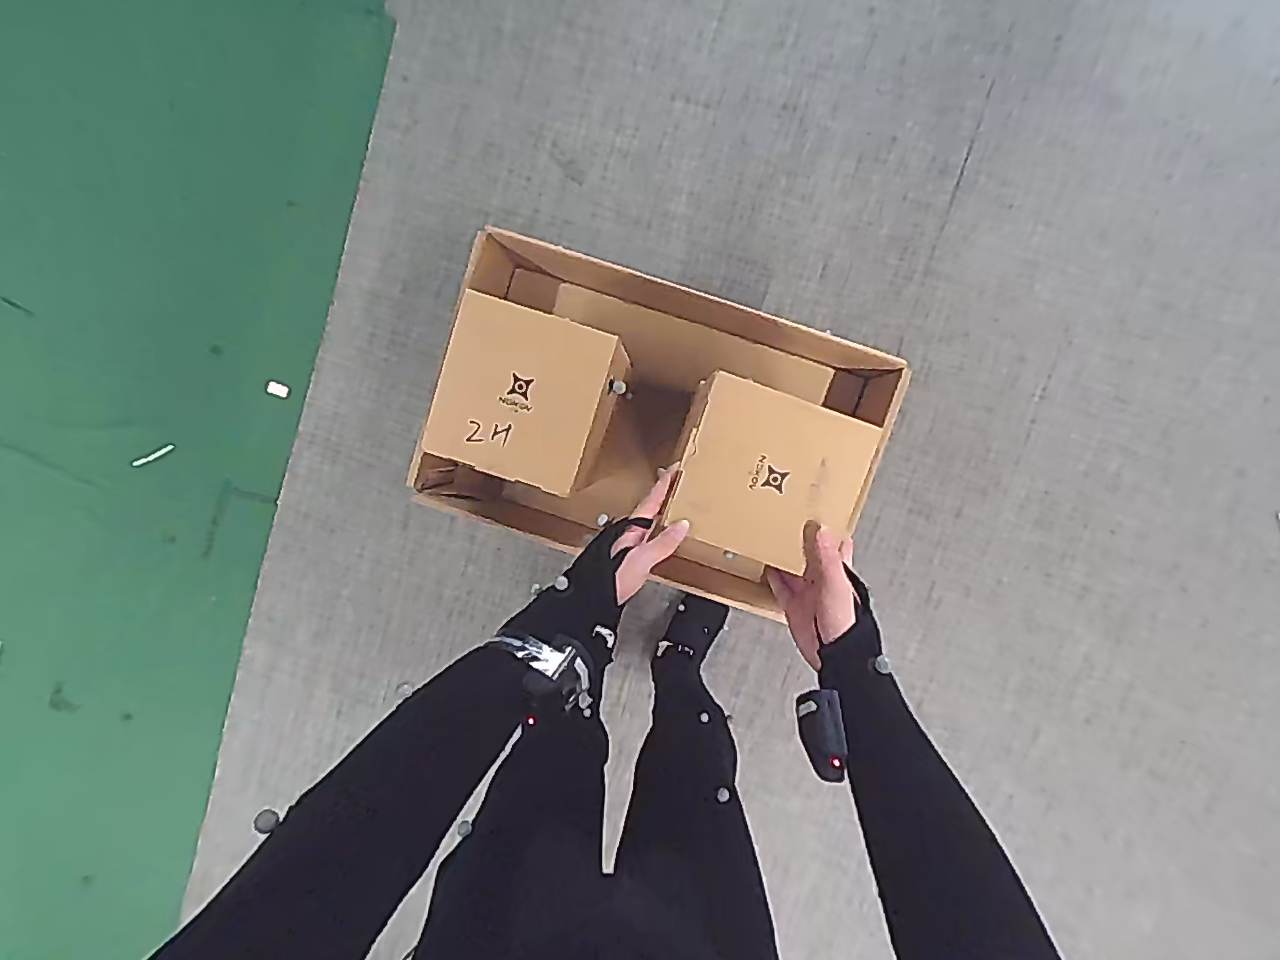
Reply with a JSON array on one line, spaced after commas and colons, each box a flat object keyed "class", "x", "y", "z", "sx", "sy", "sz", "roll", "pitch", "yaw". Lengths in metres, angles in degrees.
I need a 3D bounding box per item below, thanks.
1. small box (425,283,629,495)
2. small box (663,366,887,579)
[{"class": "small box", "x": -0.115, "y": -0.097, "z": 0.627, "sx": 0.168, "sy": 0.176, "sz": 0.179, "roll": 19, "pitch": 95, "yaw": 1}, {"class": "small box", "x": 0.132, "y": -0.011, "z": 0.605, "sx": 0.179, "sy": 0.176, "sz": 0.168, "roll": 20, "pitch": 94, "yaw": -1}]
